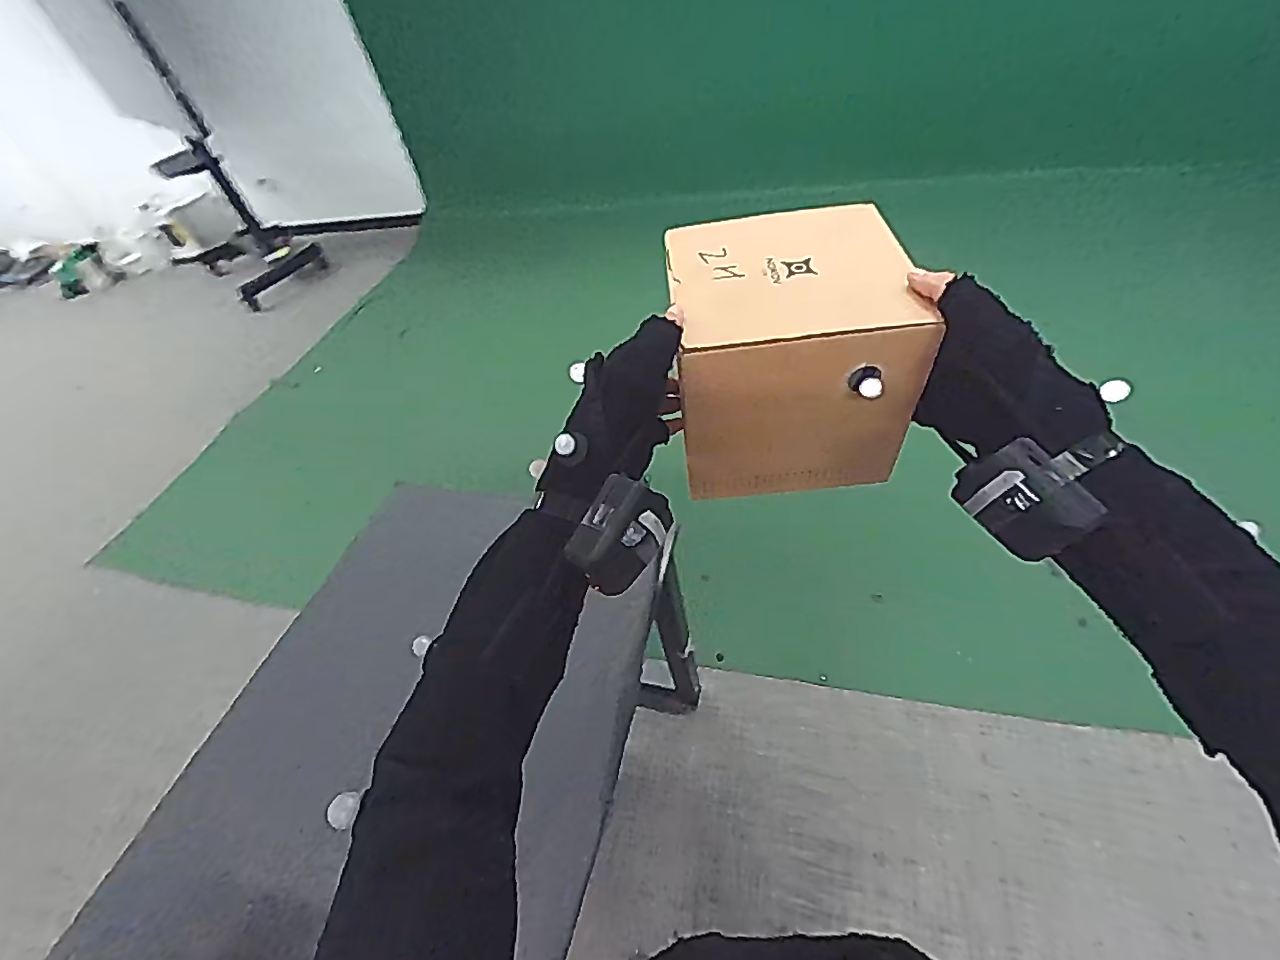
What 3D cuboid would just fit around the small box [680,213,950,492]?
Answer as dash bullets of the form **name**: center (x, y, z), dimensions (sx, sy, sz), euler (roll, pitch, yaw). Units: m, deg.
- **small box**: center (0.129, -0.105, 0.475), dimensions (0.179, 0.176, 0.168), euler (-5, 50, 4)
